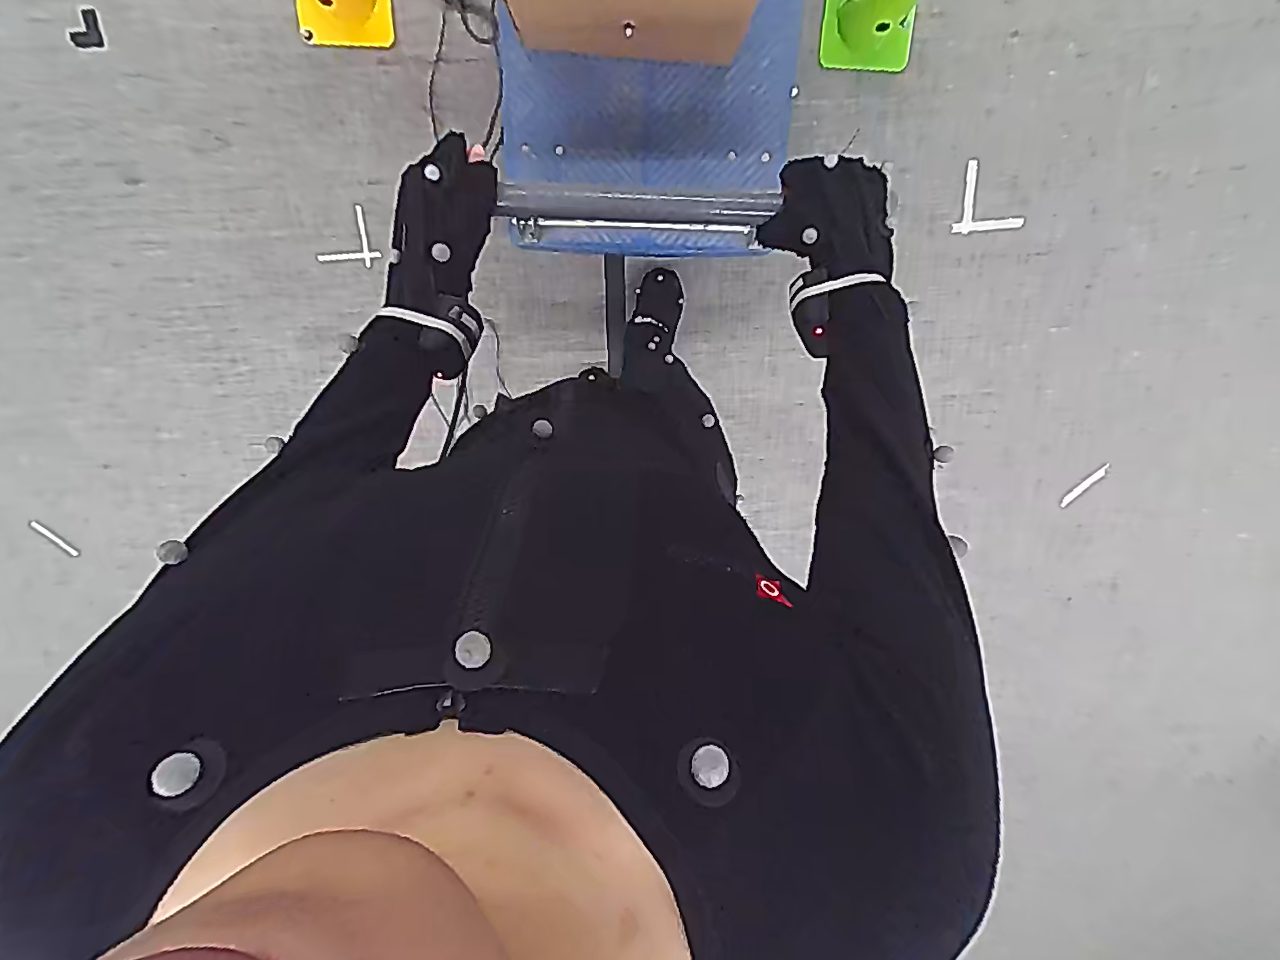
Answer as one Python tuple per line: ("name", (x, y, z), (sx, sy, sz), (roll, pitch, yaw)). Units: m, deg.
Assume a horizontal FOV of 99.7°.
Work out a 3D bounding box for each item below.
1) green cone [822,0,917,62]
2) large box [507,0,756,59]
("green cone", (0.508, -0.976, 1.010), (0.202, 0.368, 0.200), (1, 108, -3))
("large box", (-0.011, -0.923, 0.868), (0.408, 0.320, 0.320), (3, 108, -1))
